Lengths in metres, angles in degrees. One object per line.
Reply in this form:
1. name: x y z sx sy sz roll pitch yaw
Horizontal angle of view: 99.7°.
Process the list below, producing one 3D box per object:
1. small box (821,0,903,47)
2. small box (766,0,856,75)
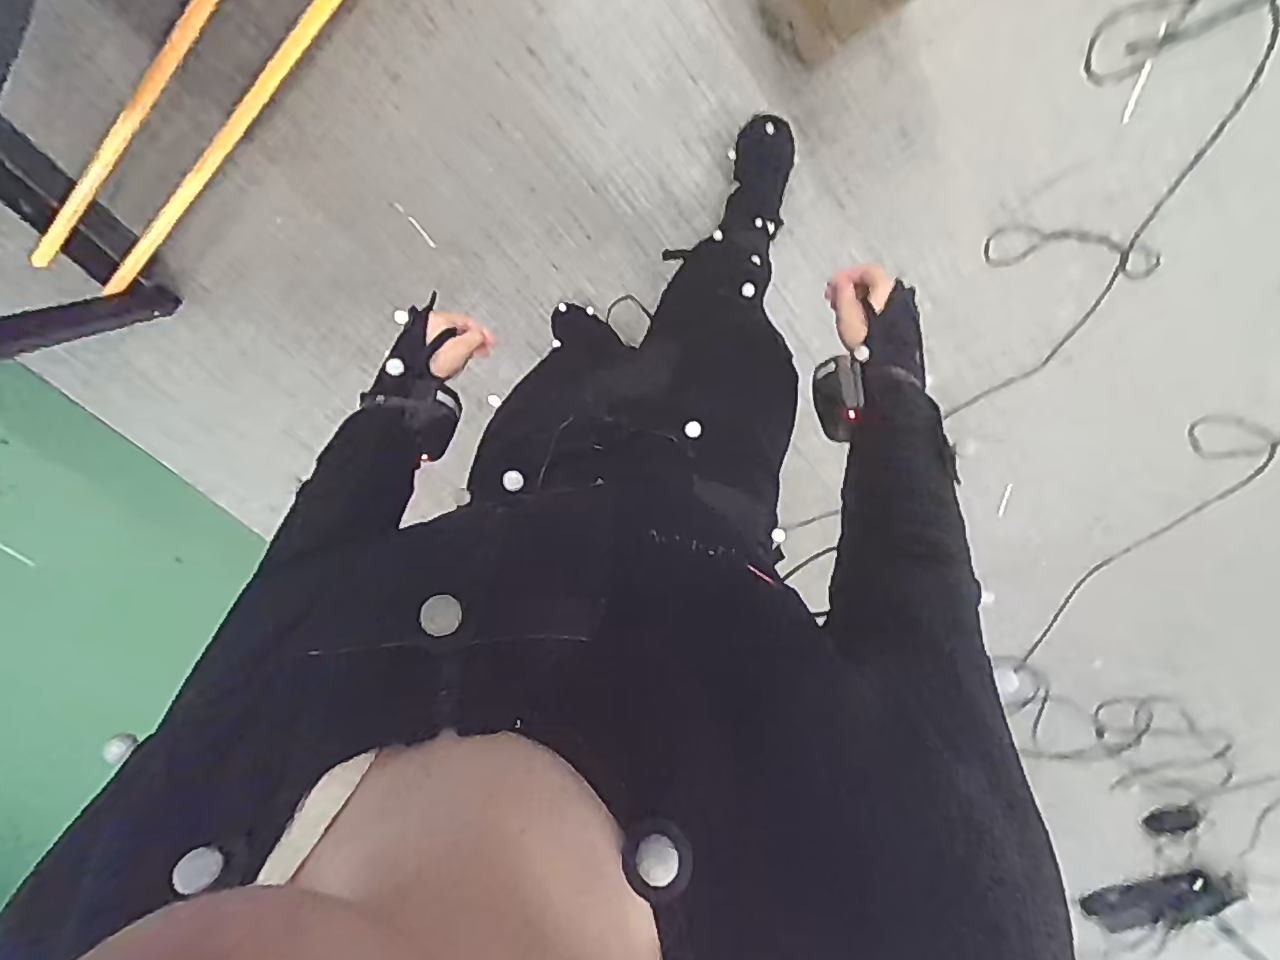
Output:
1. small box: 0.325 -0.727 0.712 0.179 0.176 0.168 -40 110 20
2. small box: 0.323 -0.798 0.860 0.179 0.176 0.168 -40 109 22
